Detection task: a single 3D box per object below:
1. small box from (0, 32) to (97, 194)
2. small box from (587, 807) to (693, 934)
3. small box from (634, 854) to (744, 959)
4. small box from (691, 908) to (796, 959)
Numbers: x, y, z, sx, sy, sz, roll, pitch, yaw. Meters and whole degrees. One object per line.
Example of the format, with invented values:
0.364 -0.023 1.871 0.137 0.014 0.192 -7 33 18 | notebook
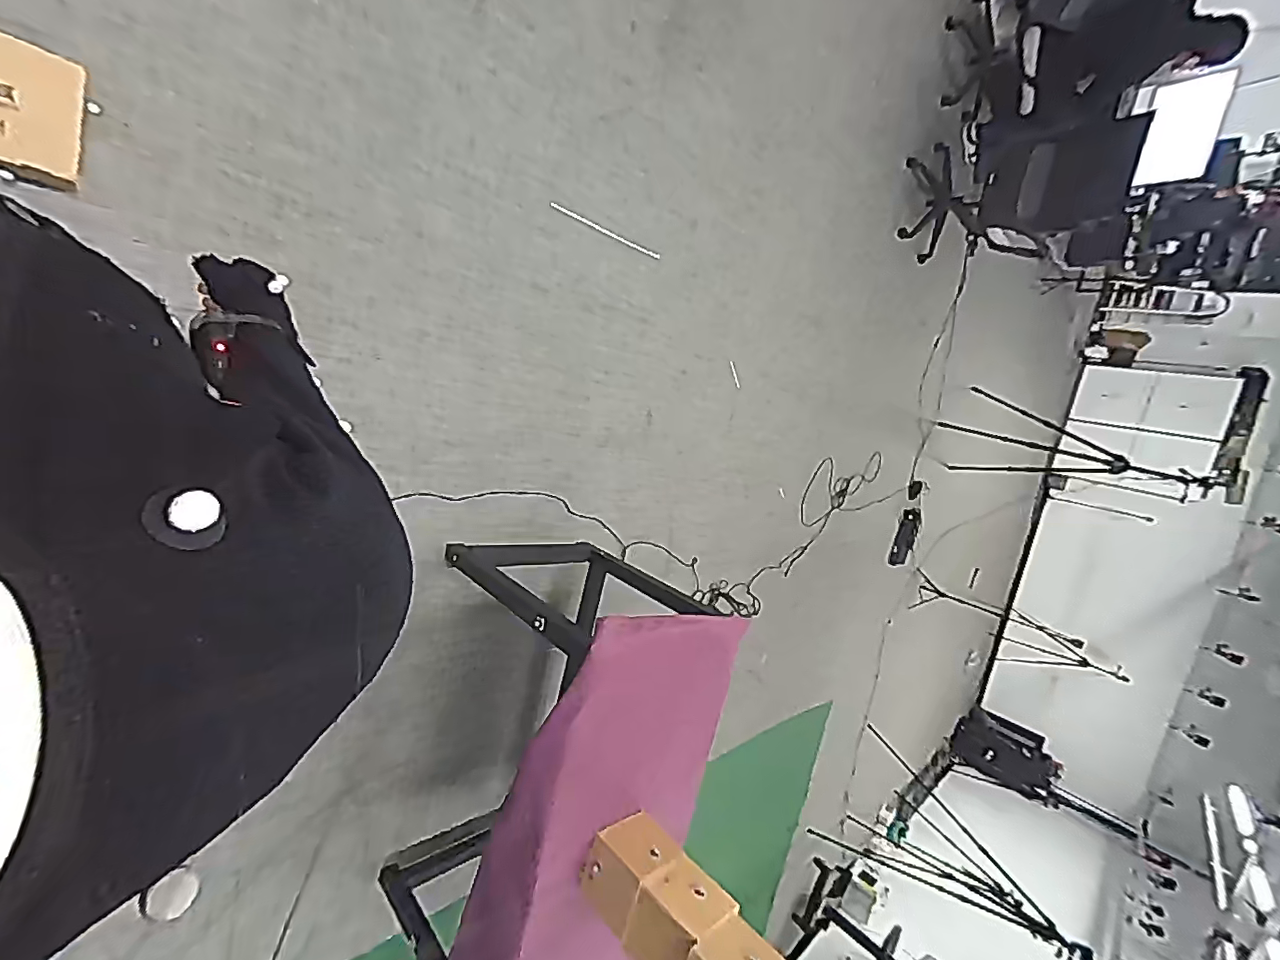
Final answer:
-0.988 -0.584 0.859 0.168 0.176 0.179 5 102 -46 | small box
-0.002 0.964 1.357 0.179 0.176 0.168 12 95 -46 | small box
0.109 1.011 1.250 0.168 0.176 0.179 10 97 -47 | small box
0.206 1.050 1.121 0.179 0.176 0.168 13 94 -48 | small box
